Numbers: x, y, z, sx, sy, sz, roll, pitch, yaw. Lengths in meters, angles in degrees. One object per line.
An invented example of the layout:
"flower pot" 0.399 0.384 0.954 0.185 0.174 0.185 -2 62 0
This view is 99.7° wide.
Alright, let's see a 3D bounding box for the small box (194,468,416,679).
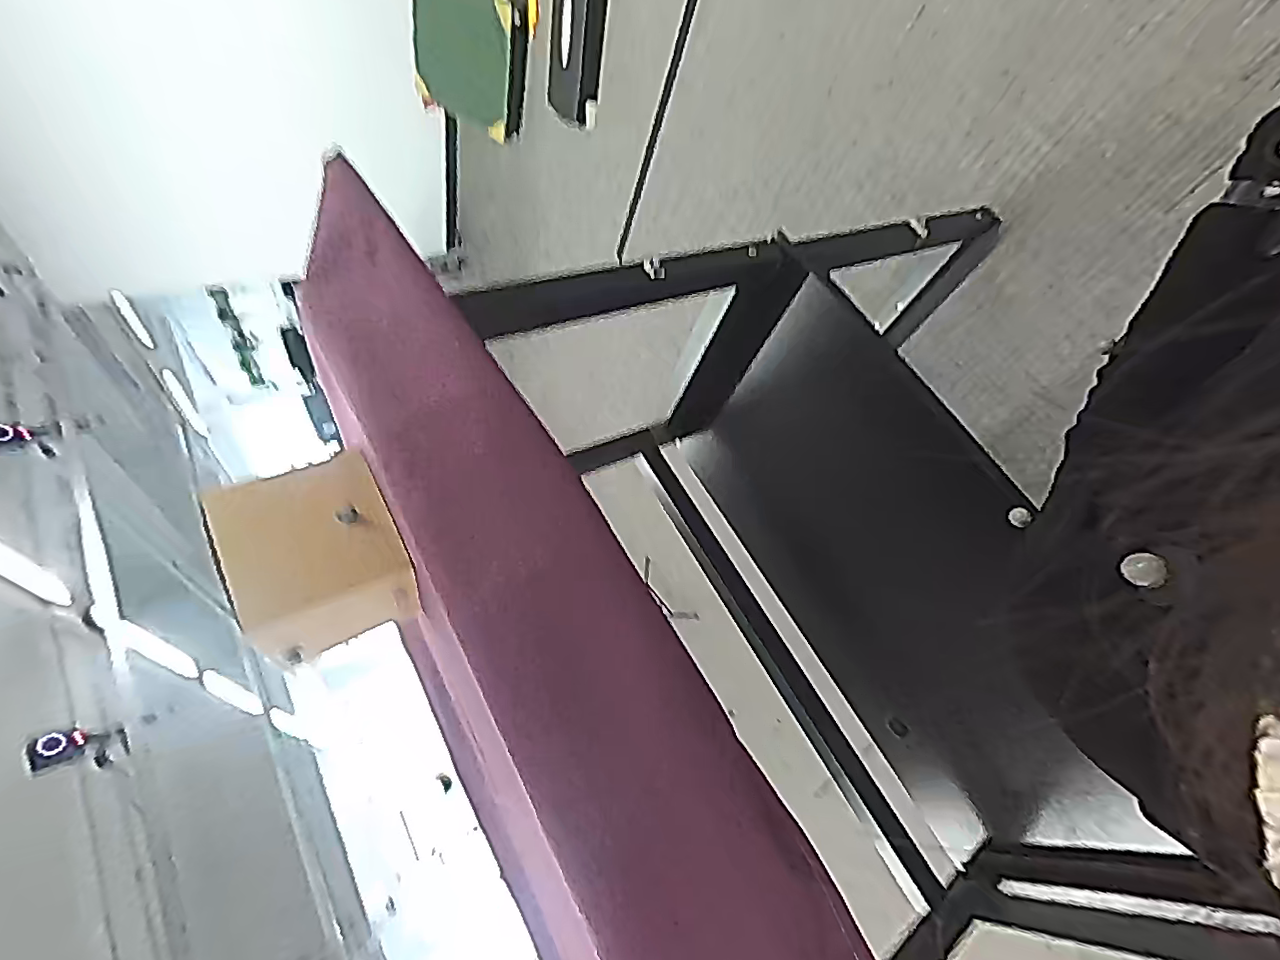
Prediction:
"small box" -0.383 0.103 0.644 0.179 0.176 0.168 57 150 20
